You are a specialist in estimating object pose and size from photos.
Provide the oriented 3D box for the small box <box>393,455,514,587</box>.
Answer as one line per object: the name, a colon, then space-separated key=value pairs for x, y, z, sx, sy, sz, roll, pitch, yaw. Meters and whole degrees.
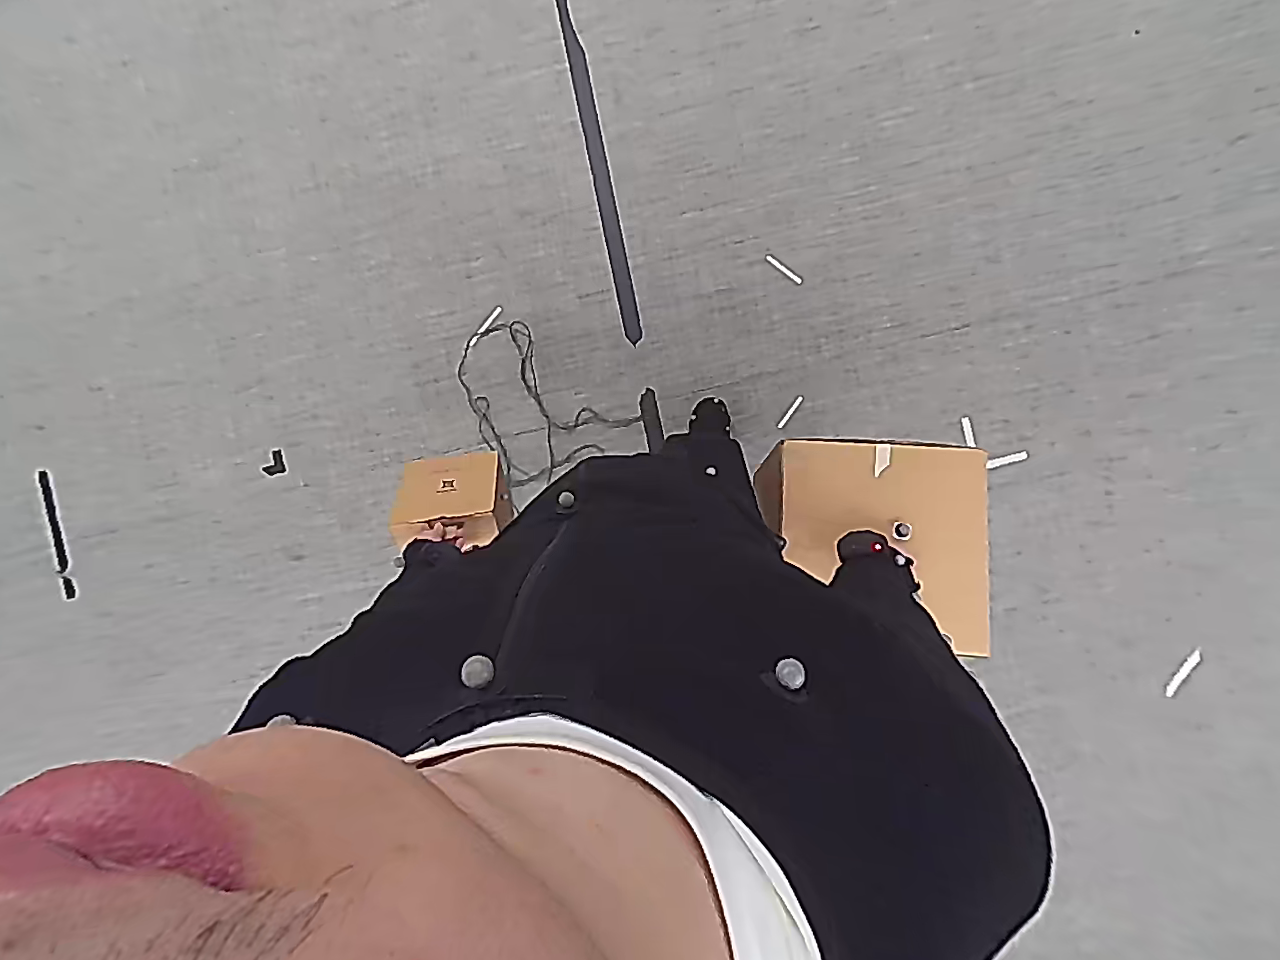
small box: x=-0.328 y=0.079 z=0.990 sx=0.168 sy=0.179 sz=0.176 roll=-7 pitch=127 yaw=-6
